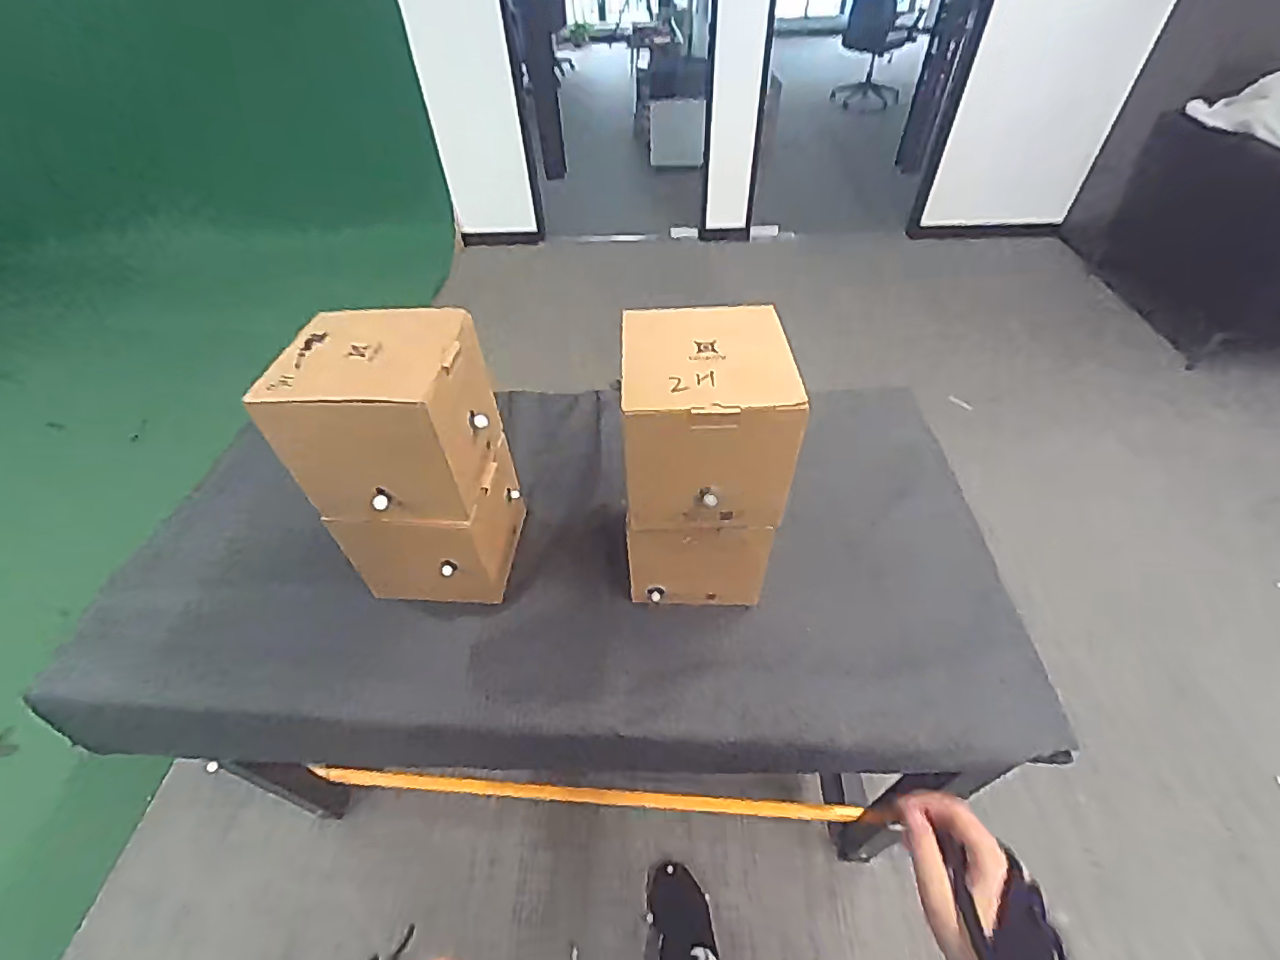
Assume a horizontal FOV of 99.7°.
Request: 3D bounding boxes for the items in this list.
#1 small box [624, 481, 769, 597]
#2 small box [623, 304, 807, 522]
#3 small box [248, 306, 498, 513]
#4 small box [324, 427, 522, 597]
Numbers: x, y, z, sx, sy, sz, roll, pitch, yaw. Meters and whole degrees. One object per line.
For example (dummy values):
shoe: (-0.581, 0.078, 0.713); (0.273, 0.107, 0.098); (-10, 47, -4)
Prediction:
small box: (0.070, 0.039, 0.712); (0.168, 0.176, 0.179); (1, 46, 2)
small box: (0.067, -0.073, 0.591); (0.168, 0.176, 0.179); (-2, 47, 1)
small box: (-0.272, -0.076, 0.608); (0.179, 0.176, 0.168); (1, 46, 2)
small box: (-0.268, 0.043, 0.721); (0.179, 0.176, 0.168); (1, 45, 4)
